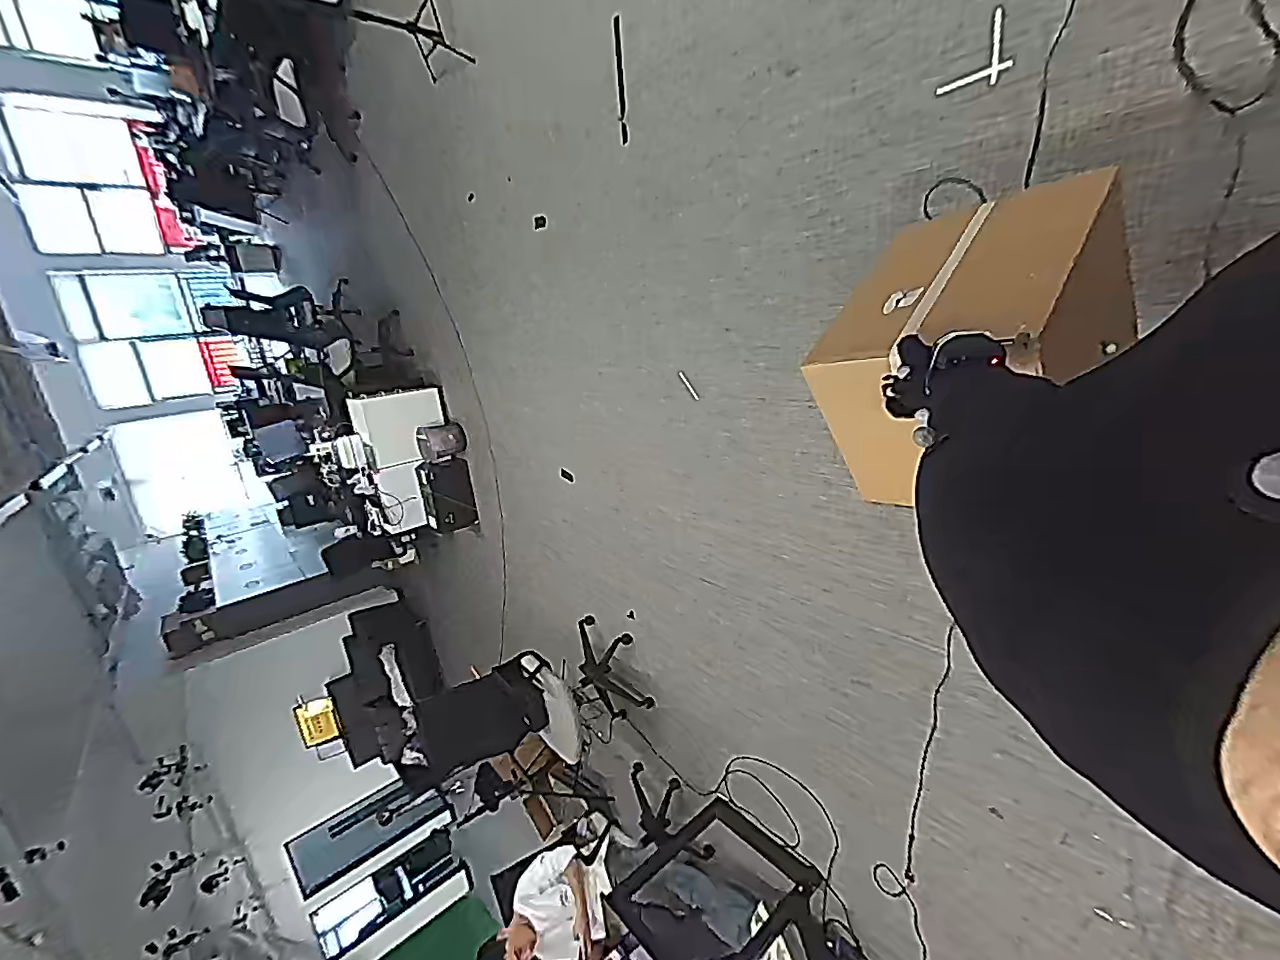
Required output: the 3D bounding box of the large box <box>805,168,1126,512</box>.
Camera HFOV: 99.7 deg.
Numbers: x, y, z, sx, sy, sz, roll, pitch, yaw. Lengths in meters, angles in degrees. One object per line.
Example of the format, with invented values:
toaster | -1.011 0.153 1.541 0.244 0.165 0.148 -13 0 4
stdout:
large box | 0.539 -0.209 0.875 0.320 0.408 0.320 6 141 52
